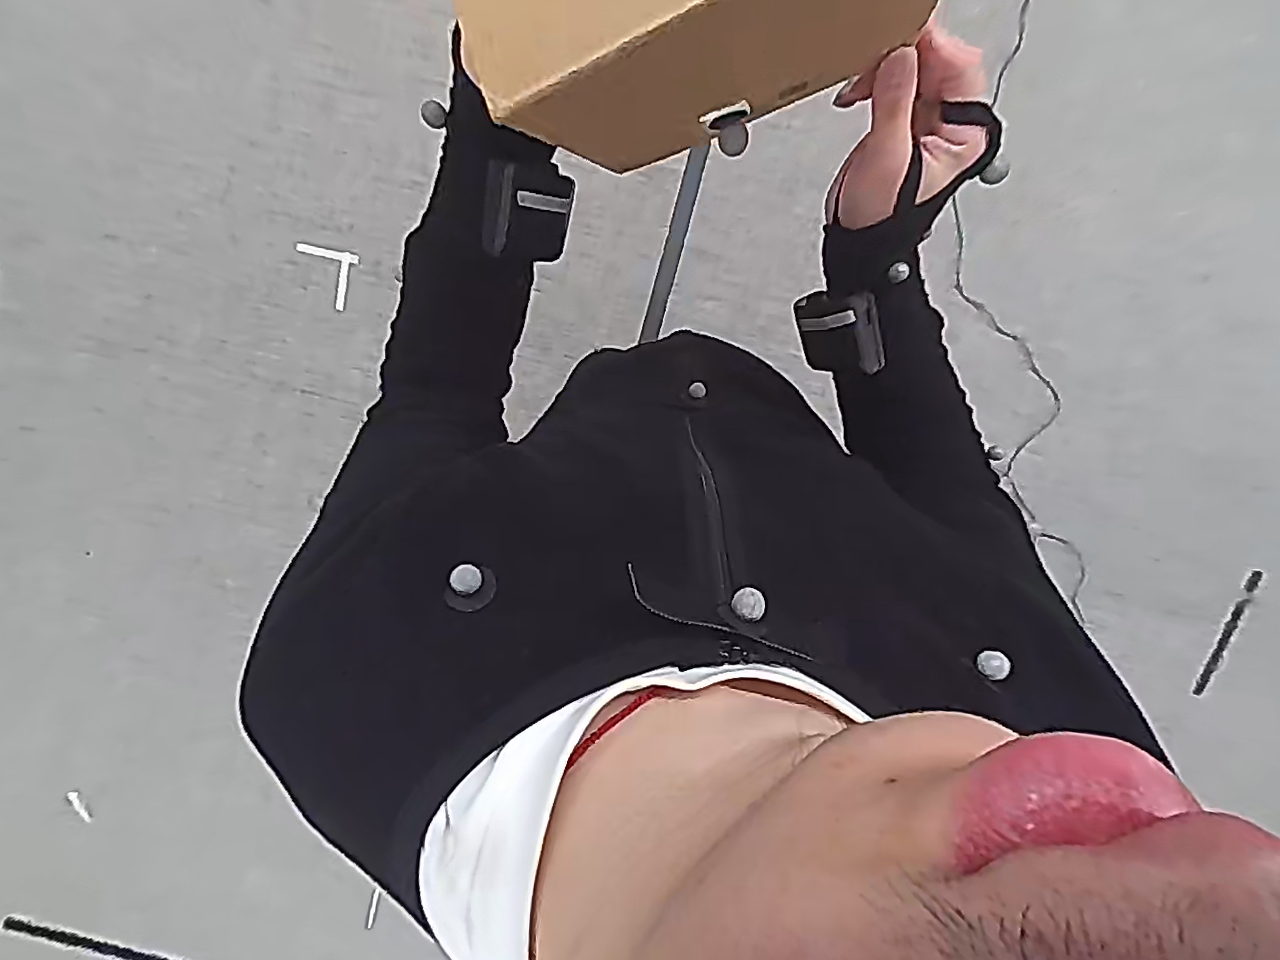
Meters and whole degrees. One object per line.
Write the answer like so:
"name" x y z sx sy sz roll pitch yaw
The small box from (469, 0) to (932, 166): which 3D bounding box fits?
"small box" 0.021 -0.258 0.219 0.168 0.176 0.179 -12 109 22
